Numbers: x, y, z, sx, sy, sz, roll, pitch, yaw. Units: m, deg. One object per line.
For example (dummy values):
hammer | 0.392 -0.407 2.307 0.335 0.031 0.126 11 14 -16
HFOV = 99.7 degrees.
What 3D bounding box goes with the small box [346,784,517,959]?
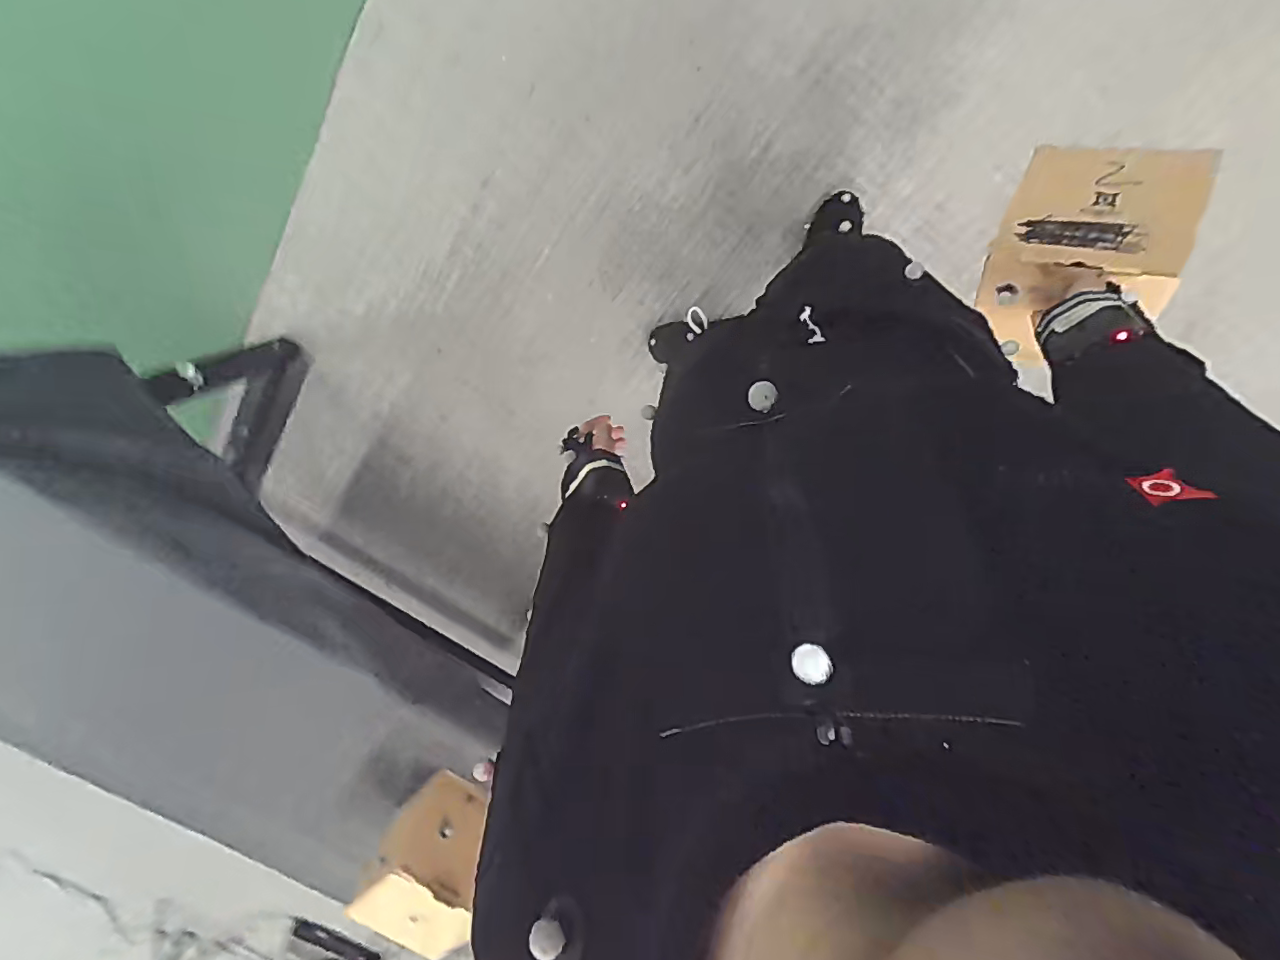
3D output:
small box | -0.318 0.628 0.864 0.168 0.176 0.179 38 115 -10
